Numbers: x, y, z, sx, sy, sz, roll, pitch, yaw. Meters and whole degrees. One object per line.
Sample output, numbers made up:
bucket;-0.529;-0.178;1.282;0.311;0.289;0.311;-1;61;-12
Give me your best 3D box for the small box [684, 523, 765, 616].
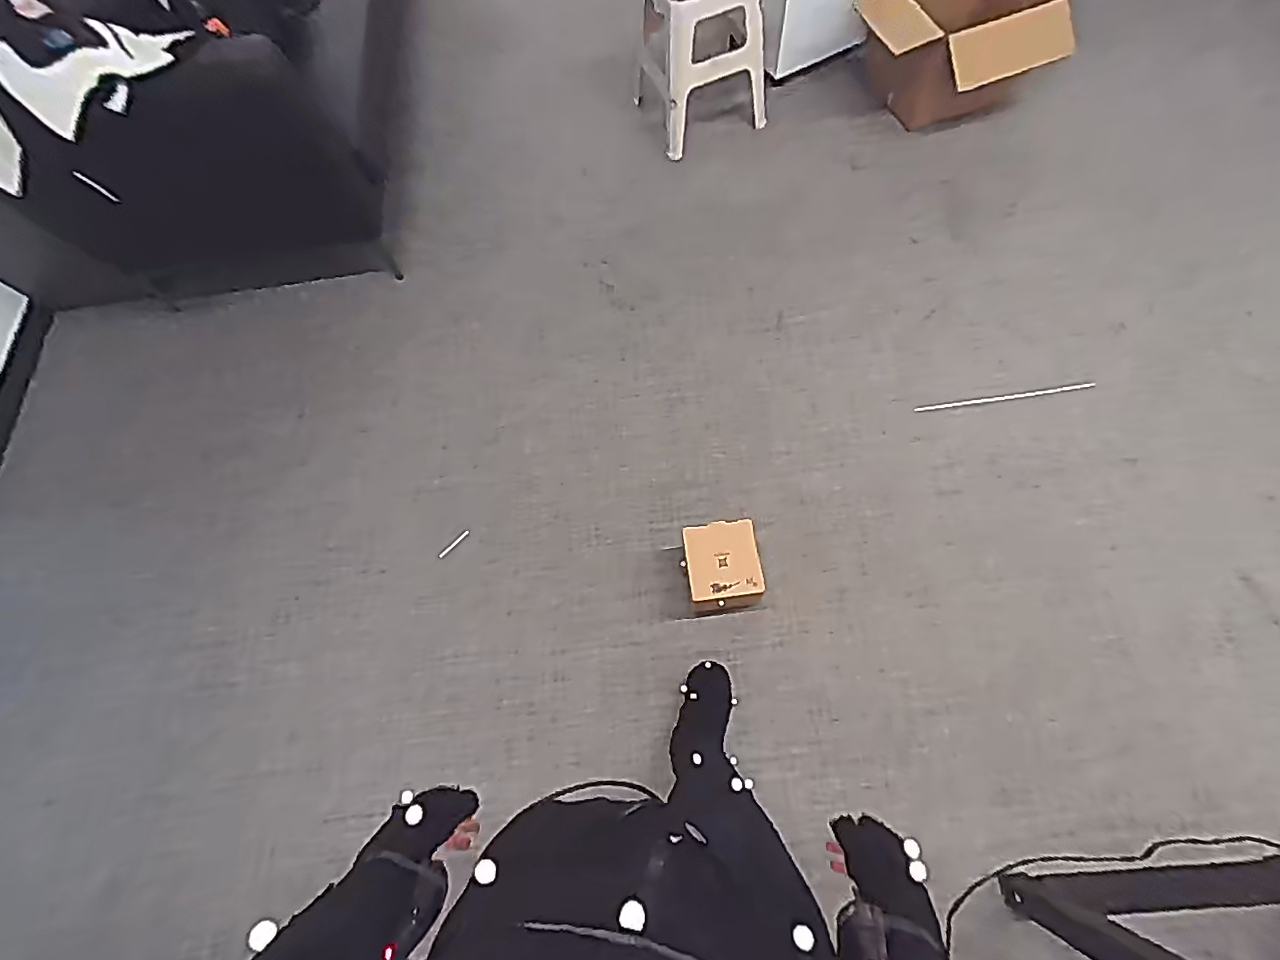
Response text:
small box;0.197;0.220;1.310;0.168;0.176;0.179;-8;67;2
